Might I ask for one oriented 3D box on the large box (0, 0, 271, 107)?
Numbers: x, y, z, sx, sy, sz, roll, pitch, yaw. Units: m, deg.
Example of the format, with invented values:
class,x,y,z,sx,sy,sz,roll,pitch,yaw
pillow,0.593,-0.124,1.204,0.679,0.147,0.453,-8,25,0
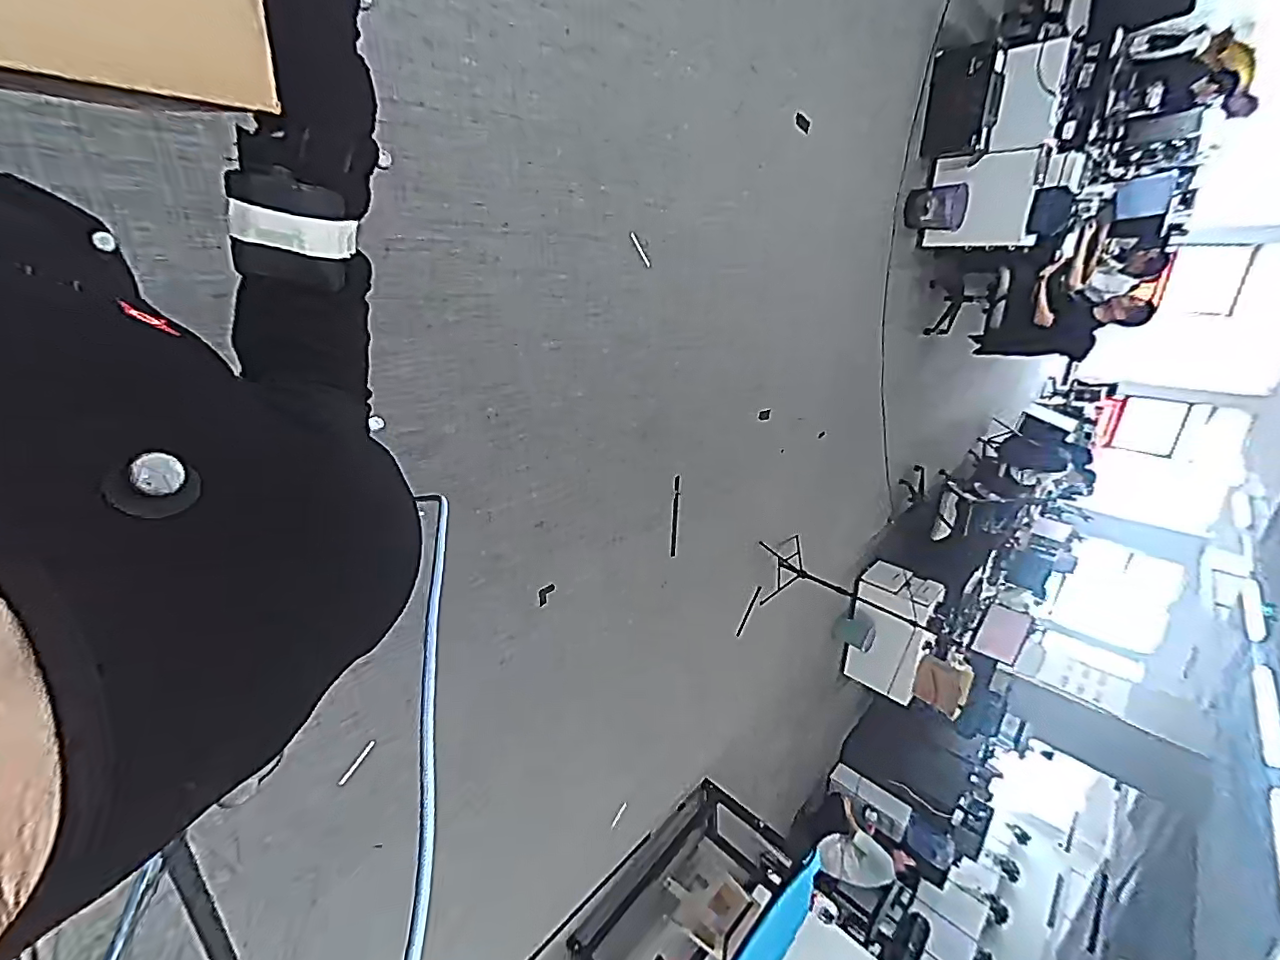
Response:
class,x,y,z,sx,sy,sz,roll,pitch,yaw
large box,-0.438,-0.351,0.190,0.408,0.320,0.320,-22,130,-43
